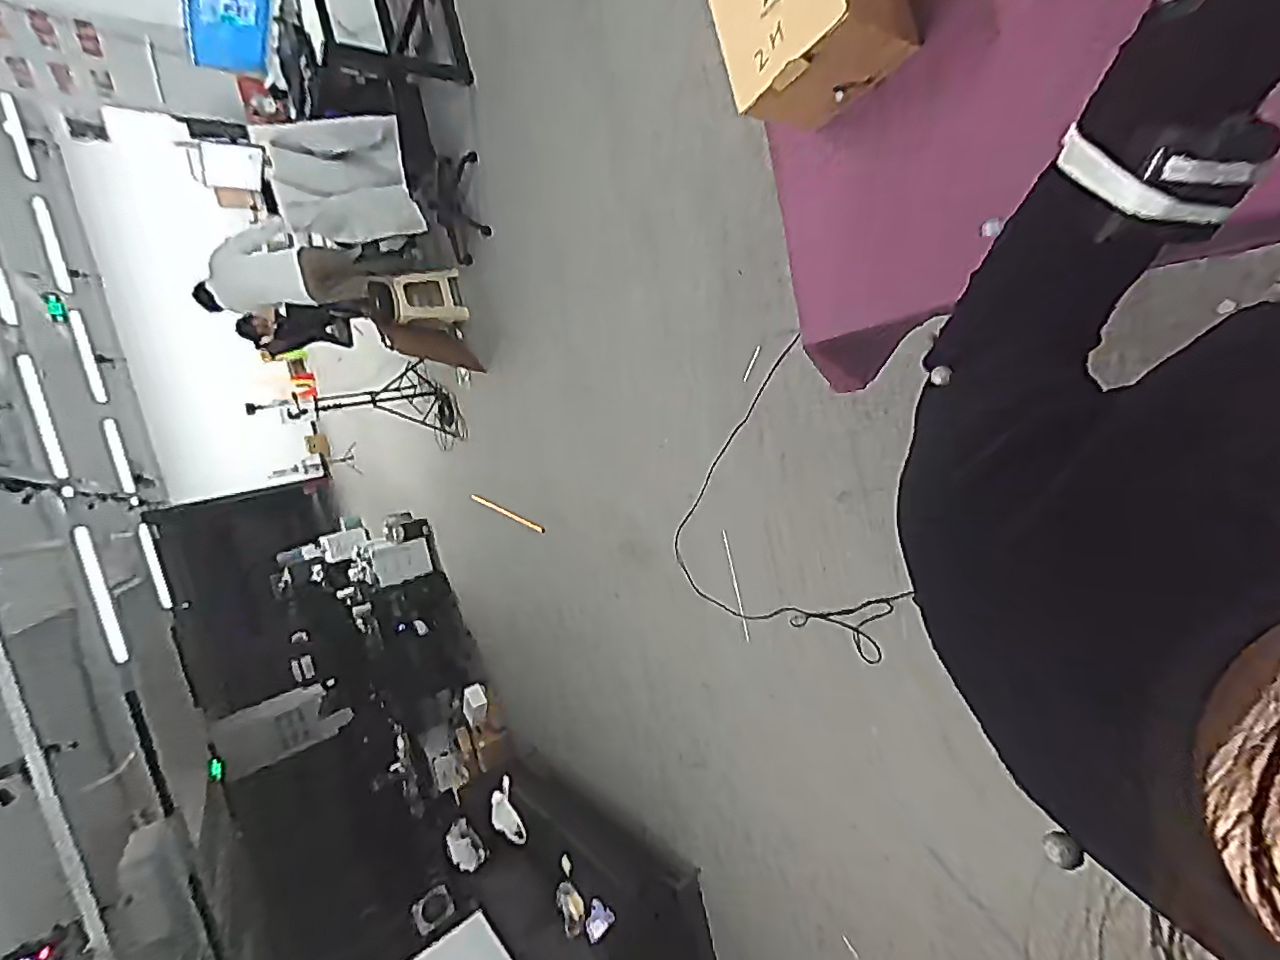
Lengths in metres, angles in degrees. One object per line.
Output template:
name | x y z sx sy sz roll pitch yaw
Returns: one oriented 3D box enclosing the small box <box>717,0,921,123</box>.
small box | 0.226 -0.599 0.693 0.168 0.176 0.179 -12 94 55
